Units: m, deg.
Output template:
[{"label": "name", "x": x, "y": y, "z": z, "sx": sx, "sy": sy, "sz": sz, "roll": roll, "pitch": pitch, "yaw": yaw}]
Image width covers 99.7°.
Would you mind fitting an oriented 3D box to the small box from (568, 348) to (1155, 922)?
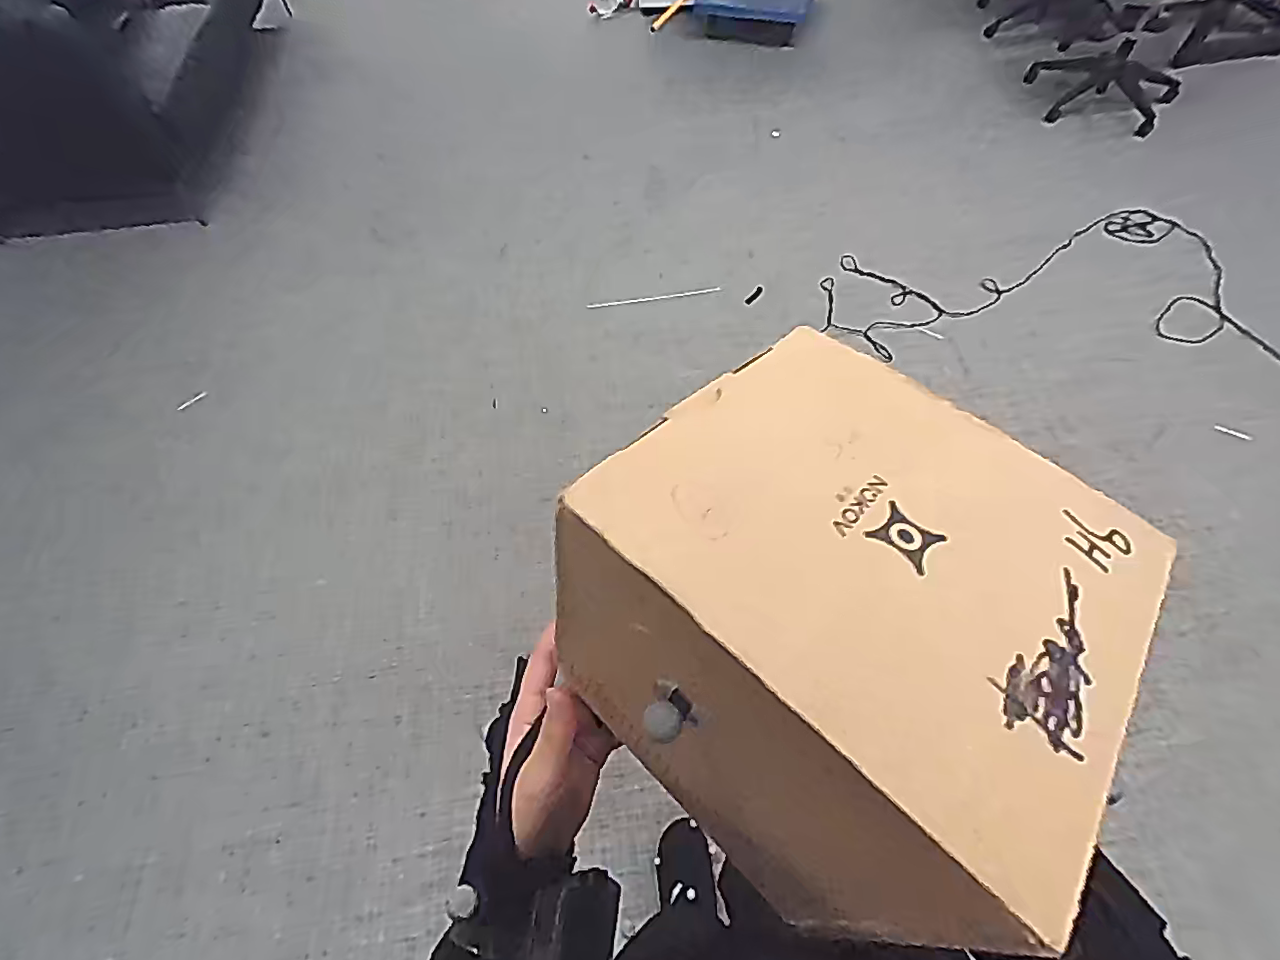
[{"label": "small box", "x": 0.079, "y": 0.072, "z": 0.266, "sx": 0.179, "sy": 0.176, "sz": 0.168, "roll": 38, "pitch": 56, "yaw": 21}]
